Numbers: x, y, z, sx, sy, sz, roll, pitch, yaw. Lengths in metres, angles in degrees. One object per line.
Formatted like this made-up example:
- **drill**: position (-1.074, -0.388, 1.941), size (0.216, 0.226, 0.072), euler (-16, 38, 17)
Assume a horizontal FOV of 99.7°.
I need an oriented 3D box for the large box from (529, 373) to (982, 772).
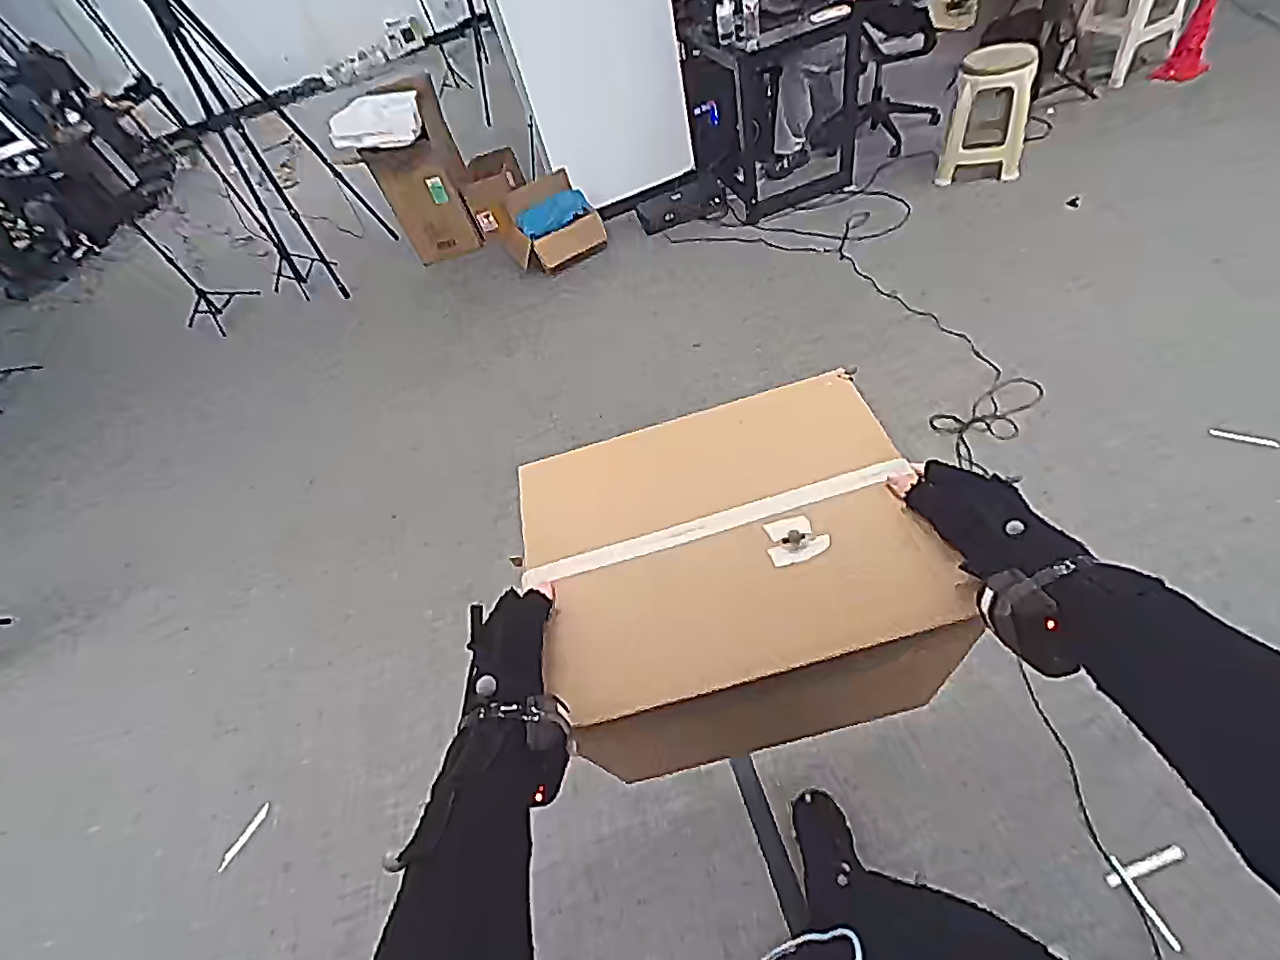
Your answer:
- **large box**: position (0.111, 0.130, 0.686), size (0.408, 0.320, 0.320), euler (-17, 53, 2)
